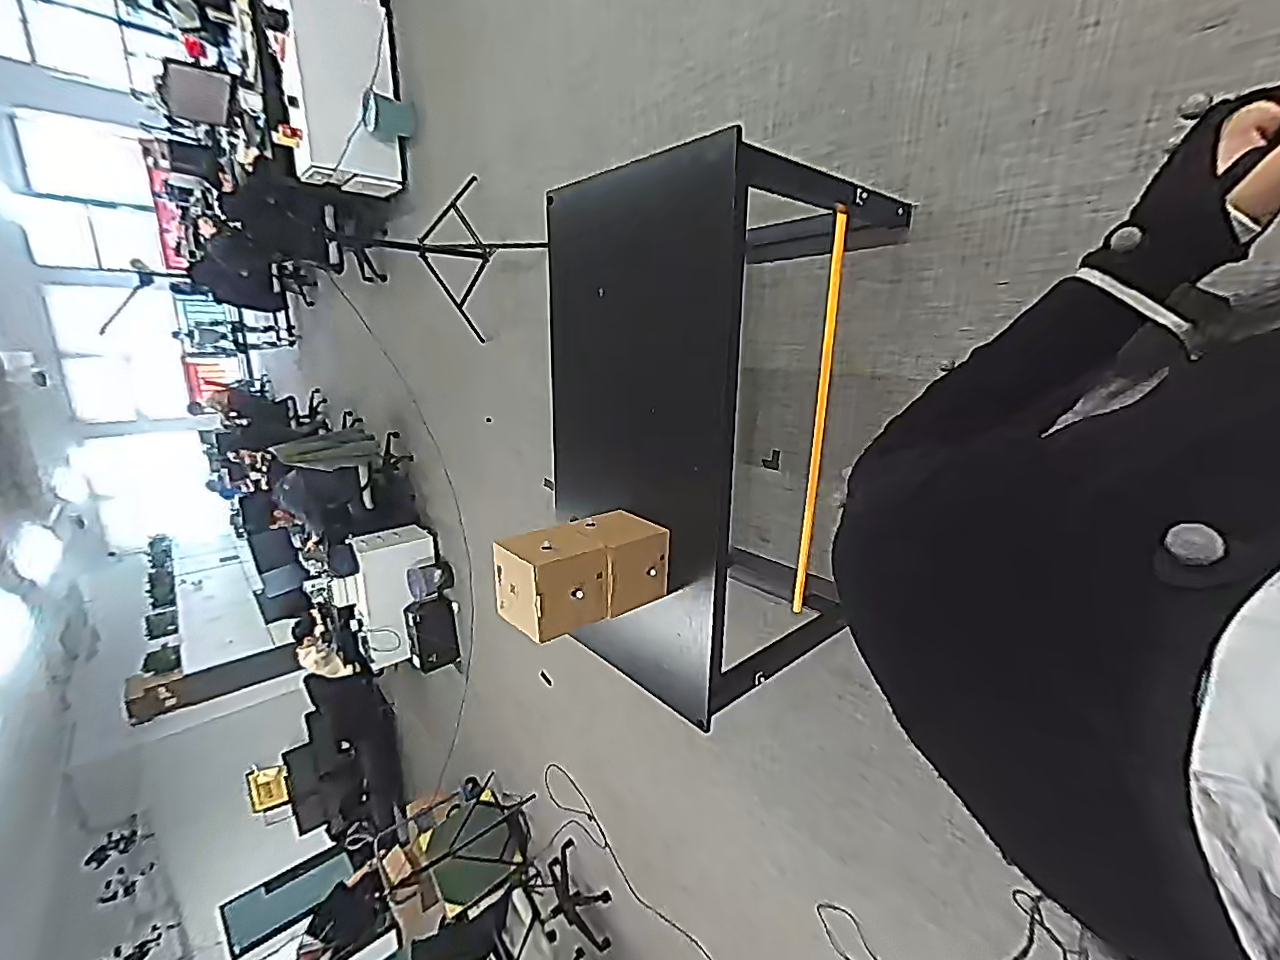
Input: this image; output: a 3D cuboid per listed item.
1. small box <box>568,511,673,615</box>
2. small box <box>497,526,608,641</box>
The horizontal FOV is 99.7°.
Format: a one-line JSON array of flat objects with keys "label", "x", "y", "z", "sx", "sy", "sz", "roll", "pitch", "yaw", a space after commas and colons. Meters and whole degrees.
[{"label": "small box", "x": -0.047, "y": 0.178, "z": 1.230, "sx": 0.179, "sy": 0.176, "sz": 0.168, "roll": 20, "pitch": 114, "yaw": 46}, {"label": "small box", "x": -0.178, "y": 0.204, "z": 1.134, "sx": 0.179, "sy": 0.176, "sz": 0.168, "roll": 16, "pitch": 111, "yaw": 47}]
